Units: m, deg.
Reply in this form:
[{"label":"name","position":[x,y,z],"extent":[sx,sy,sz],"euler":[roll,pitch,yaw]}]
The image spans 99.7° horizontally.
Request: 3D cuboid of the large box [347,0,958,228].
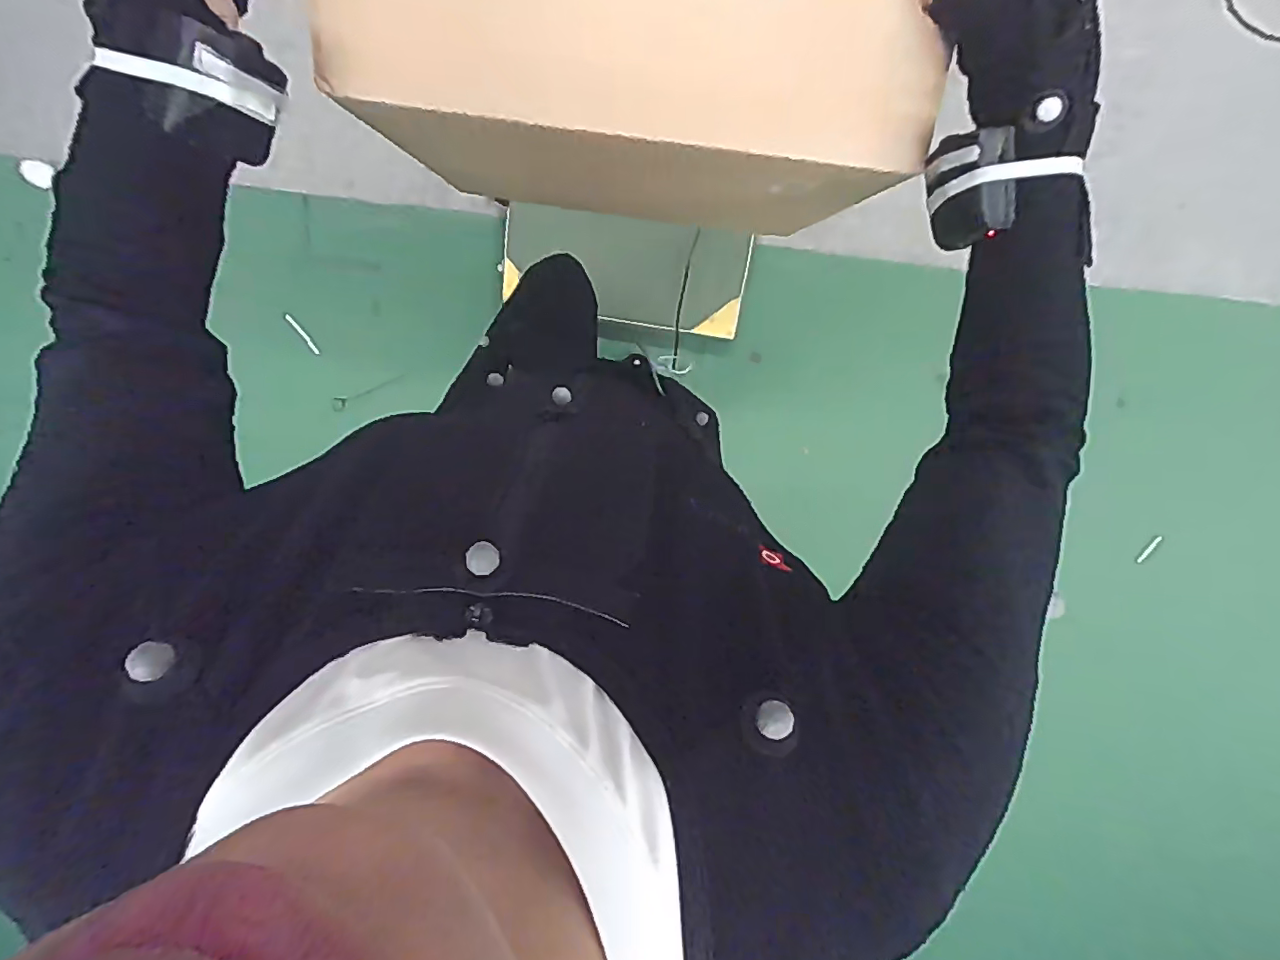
[{"label":"large box","position":[0.011,-0.426,0.471],"extent":[0.408,0.320,0.320],"euler":[5,107,-4]}]
